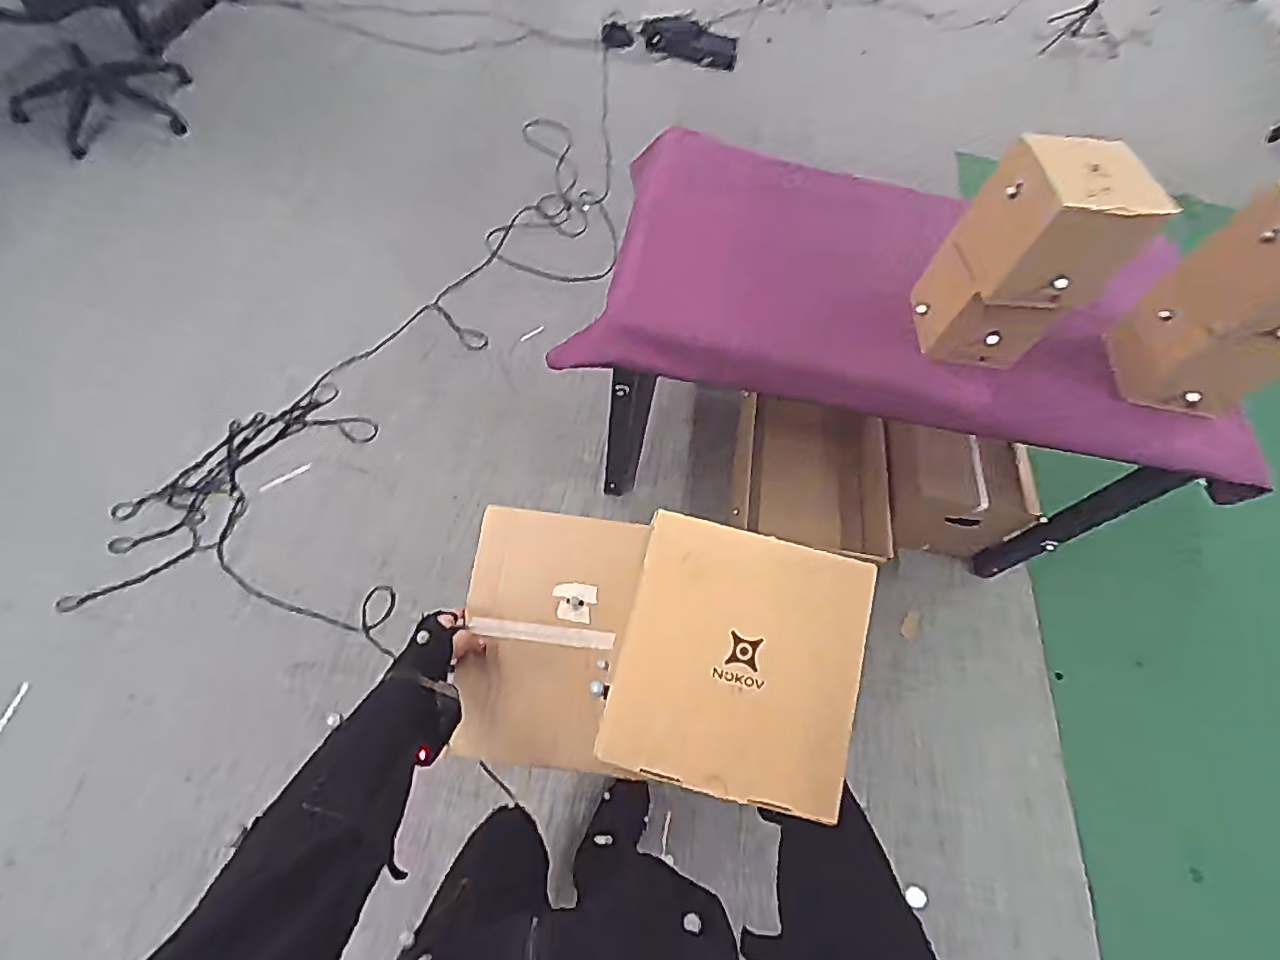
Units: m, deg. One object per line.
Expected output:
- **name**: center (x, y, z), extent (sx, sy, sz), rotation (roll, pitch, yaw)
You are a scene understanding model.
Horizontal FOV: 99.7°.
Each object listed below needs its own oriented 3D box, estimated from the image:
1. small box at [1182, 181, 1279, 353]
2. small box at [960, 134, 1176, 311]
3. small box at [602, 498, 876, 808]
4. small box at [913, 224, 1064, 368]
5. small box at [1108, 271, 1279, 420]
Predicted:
- **small box**: center (1.004, -0.318, 0.828), extent (0.168, 0.176, 0.179), rotation (9, 60, 1)
- **small box**: center (0.629, -0.387, 0.825), extent (0.168, 0.176, 0.179), rotation (2, 61, -4)
- **small box**: center (0.068, 0.130, 0.451), extent (0.168, 0.176, 0.179), rotation (14, 78, 1)
- **small box**: center (0.624, -0.327, 0.981), extent (0.168, 0.176, 0.179), rotation (8, 61, -2)
- **small box**: center (0.995, -0.237, 0.968), extent (0.168, 0.176, 0.179), rotation (11, 61, 1)
